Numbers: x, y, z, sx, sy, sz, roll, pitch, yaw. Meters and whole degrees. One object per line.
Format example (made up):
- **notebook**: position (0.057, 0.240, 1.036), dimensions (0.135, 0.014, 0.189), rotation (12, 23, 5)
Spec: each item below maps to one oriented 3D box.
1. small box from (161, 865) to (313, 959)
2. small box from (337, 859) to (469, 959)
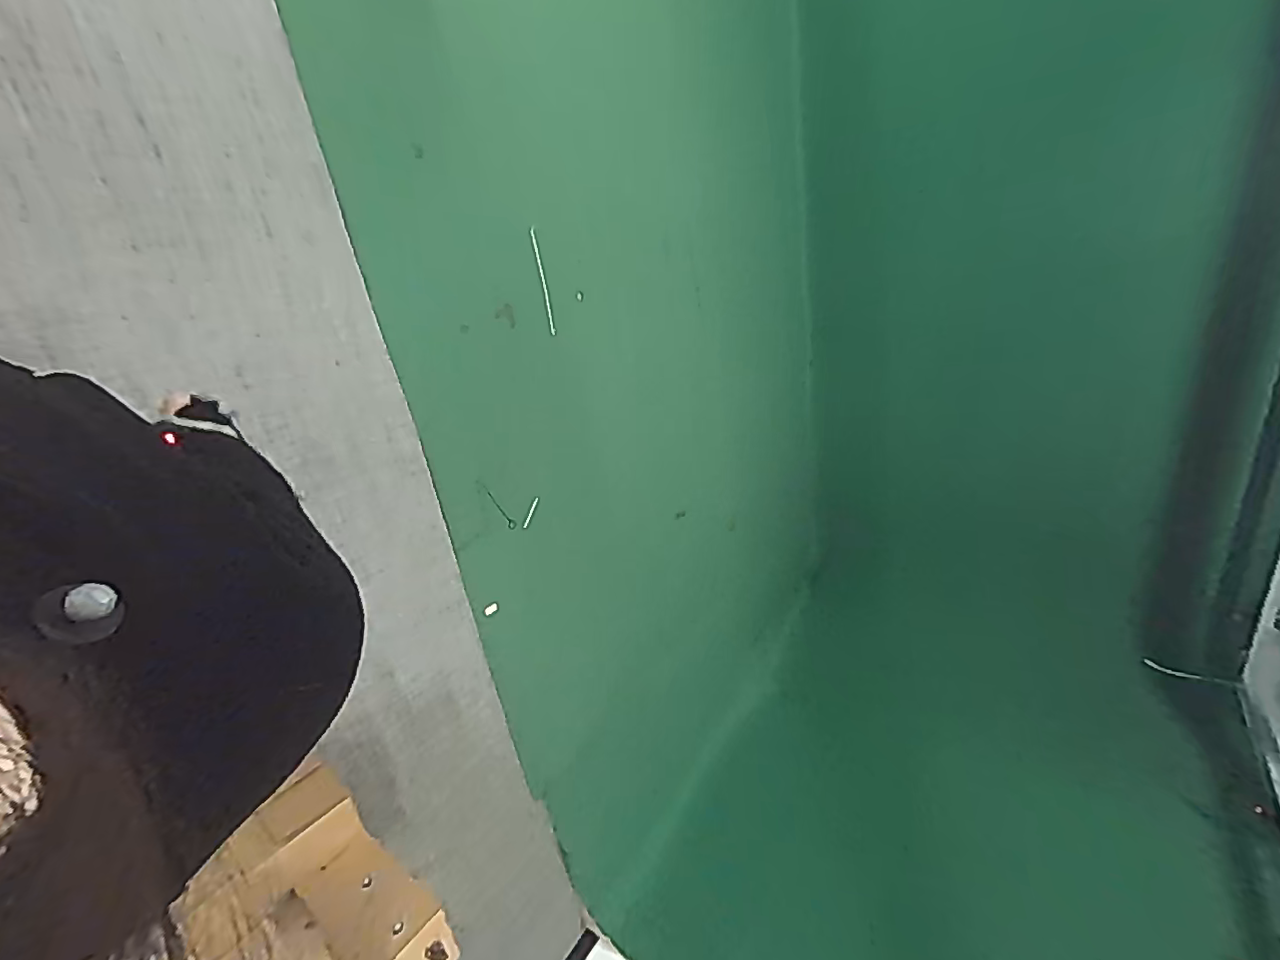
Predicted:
- **small box**: position (-0.782, 0.912, 1.047), dimensions (0.179, 0.176, 0.168), rotation (-33, 123, -45)
- **small box**: position (-0.503, 0.967, 1.154), dimensions (0.179, 0.176, 0.168), rotation (-33, 123, -47)
